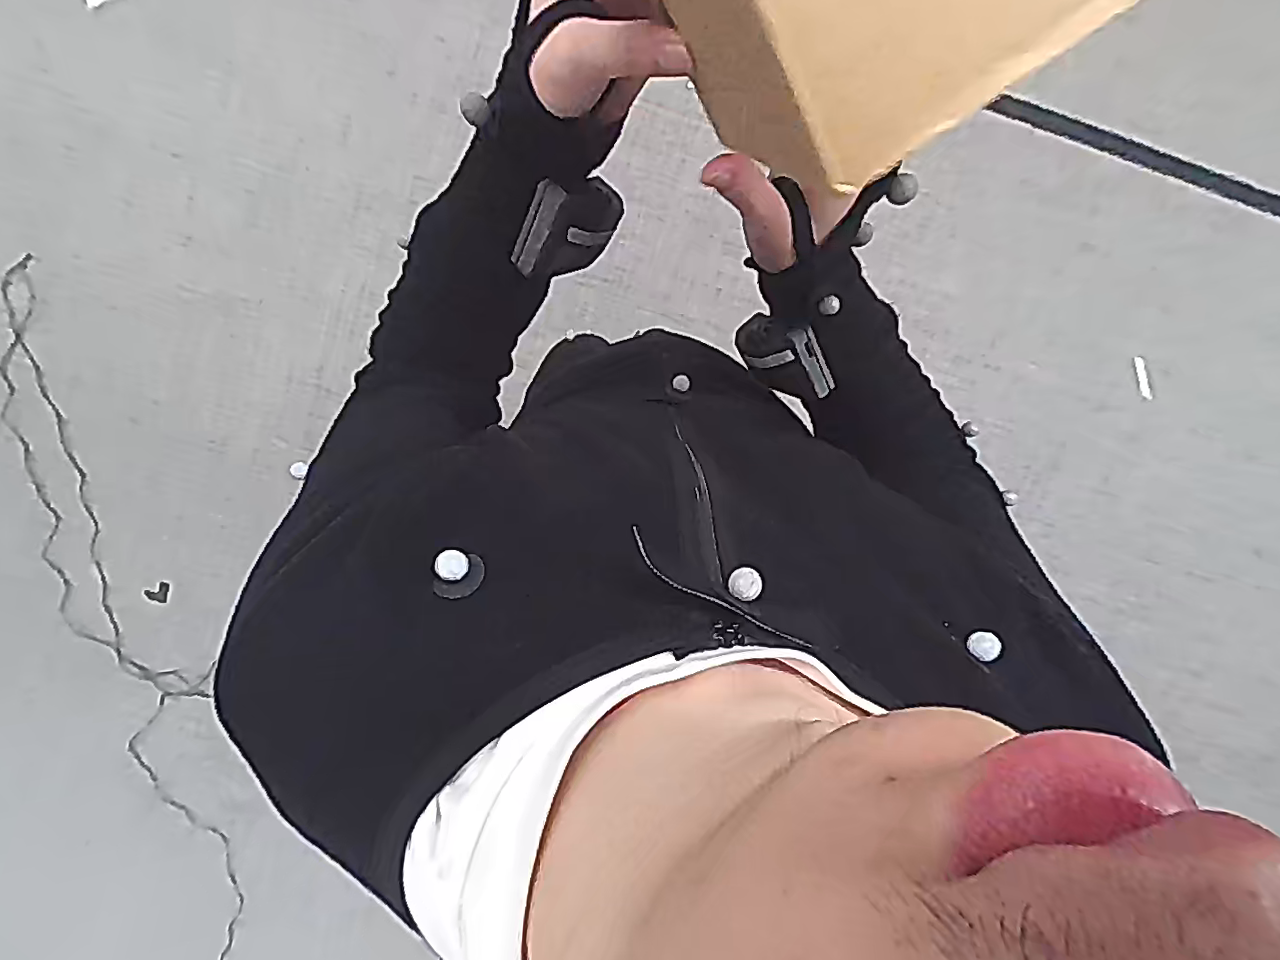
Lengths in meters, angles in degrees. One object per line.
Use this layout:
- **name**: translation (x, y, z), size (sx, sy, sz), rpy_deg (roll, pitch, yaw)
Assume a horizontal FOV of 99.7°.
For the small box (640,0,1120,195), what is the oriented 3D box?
- **small box**: translation (0.072, -0.220, 0.151), size (0.179, 0.176, 0.168), rpy_deg (-31, 122, 17)
